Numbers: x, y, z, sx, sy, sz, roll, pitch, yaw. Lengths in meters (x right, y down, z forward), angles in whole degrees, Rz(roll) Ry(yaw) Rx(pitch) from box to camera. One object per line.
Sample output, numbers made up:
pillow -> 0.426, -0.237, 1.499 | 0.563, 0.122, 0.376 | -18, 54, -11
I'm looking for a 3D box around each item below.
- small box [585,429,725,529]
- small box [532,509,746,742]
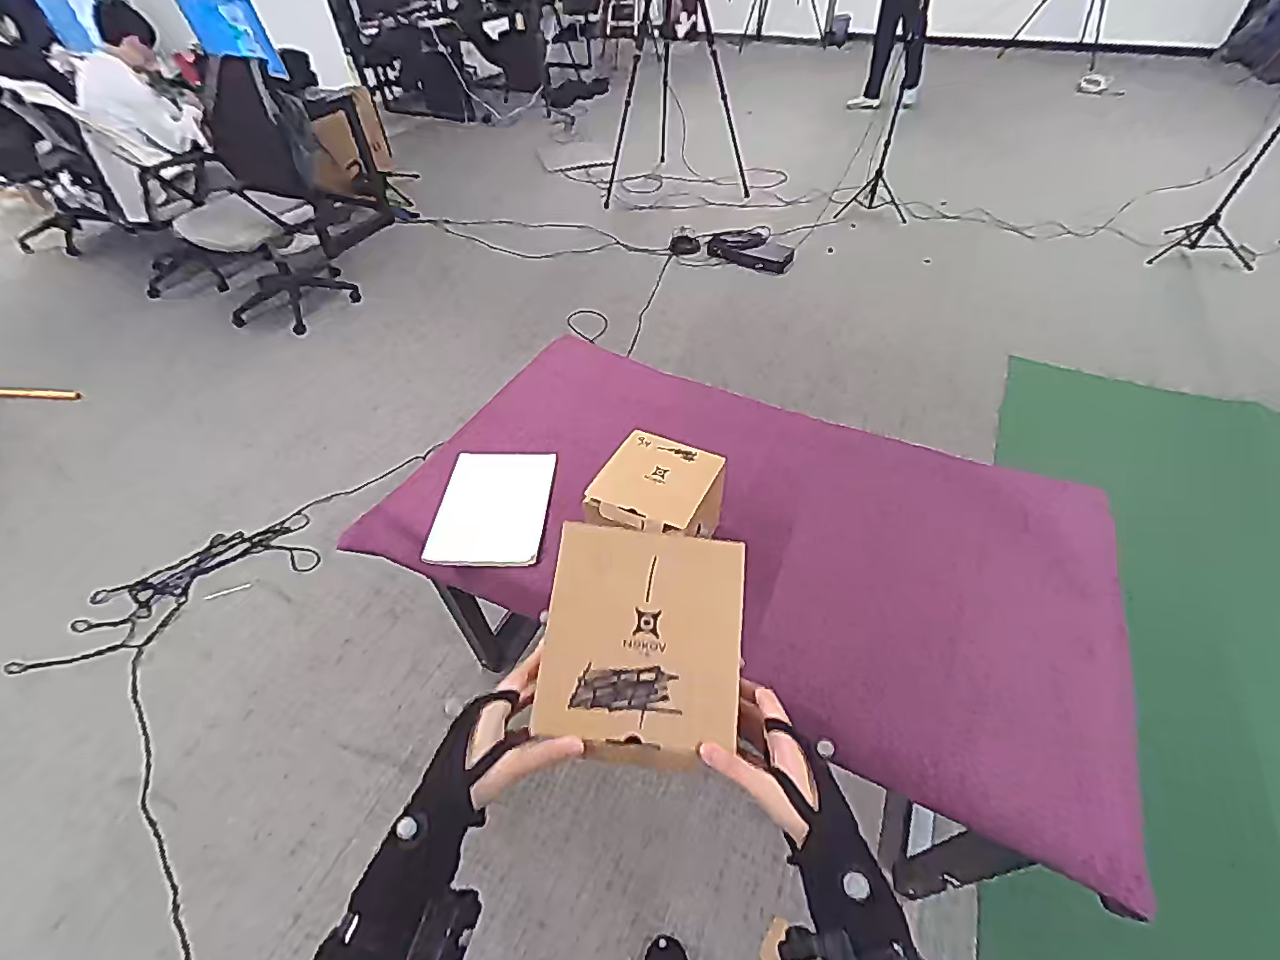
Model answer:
small box -> 0.029, 0.051, 0.894 | 0.168, 0.176, 0.179 | 20, 52, 19
small box -> 0.000, 0.145, 0.536 | 0.168, 0.176, 0.179 | 8, 70, -1
